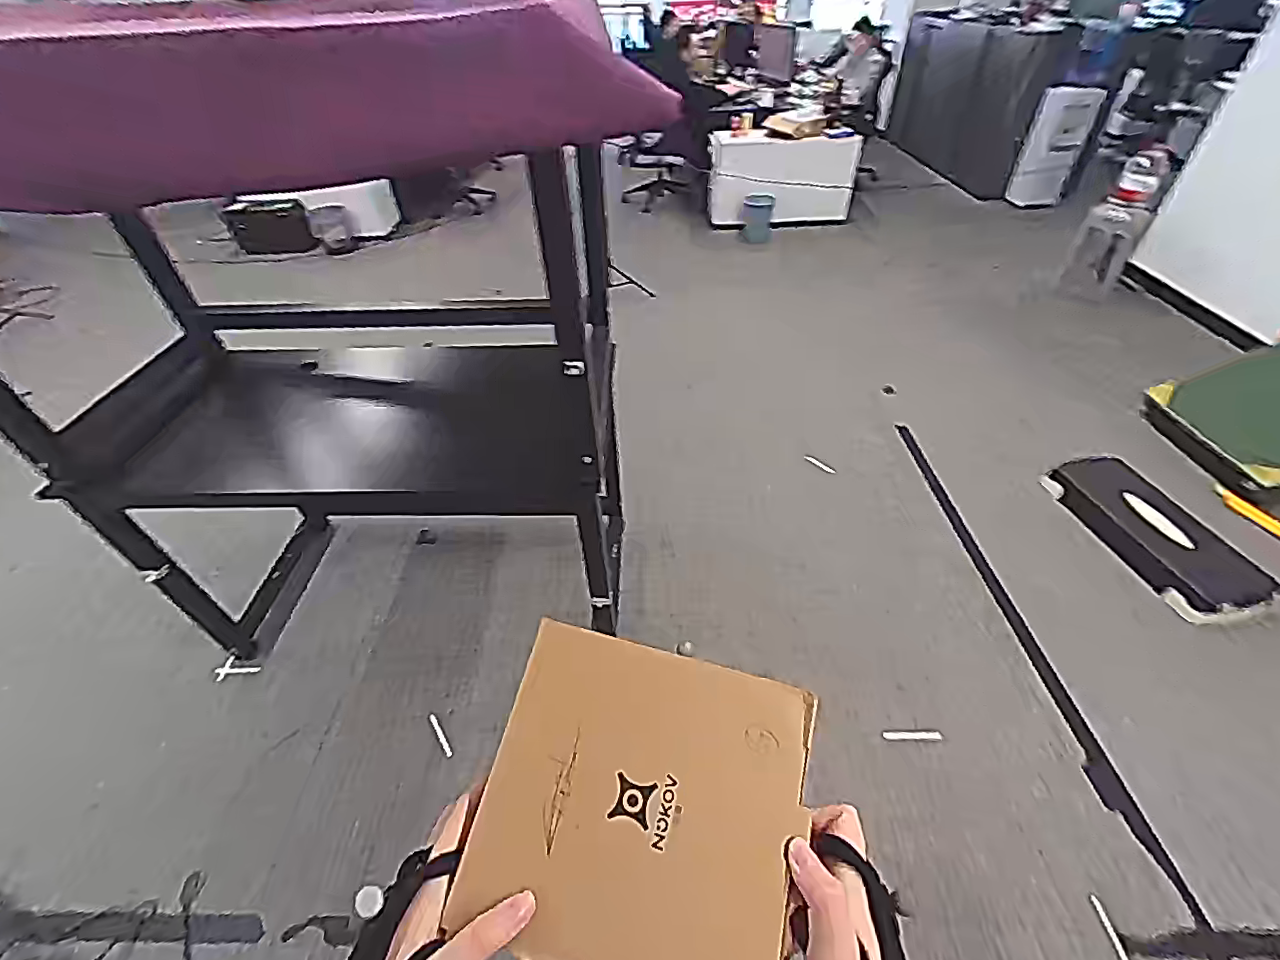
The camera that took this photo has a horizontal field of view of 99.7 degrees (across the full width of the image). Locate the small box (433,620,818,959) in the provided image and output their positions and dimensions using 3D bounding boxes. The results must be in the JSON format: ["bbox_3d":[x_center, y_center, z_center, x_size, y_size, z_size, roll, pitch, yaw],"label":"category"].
[{"bbox_3d":[0.003,0.211,0.365,0.179,0.176,0.168,12,65,10],"label":"small box"}]
